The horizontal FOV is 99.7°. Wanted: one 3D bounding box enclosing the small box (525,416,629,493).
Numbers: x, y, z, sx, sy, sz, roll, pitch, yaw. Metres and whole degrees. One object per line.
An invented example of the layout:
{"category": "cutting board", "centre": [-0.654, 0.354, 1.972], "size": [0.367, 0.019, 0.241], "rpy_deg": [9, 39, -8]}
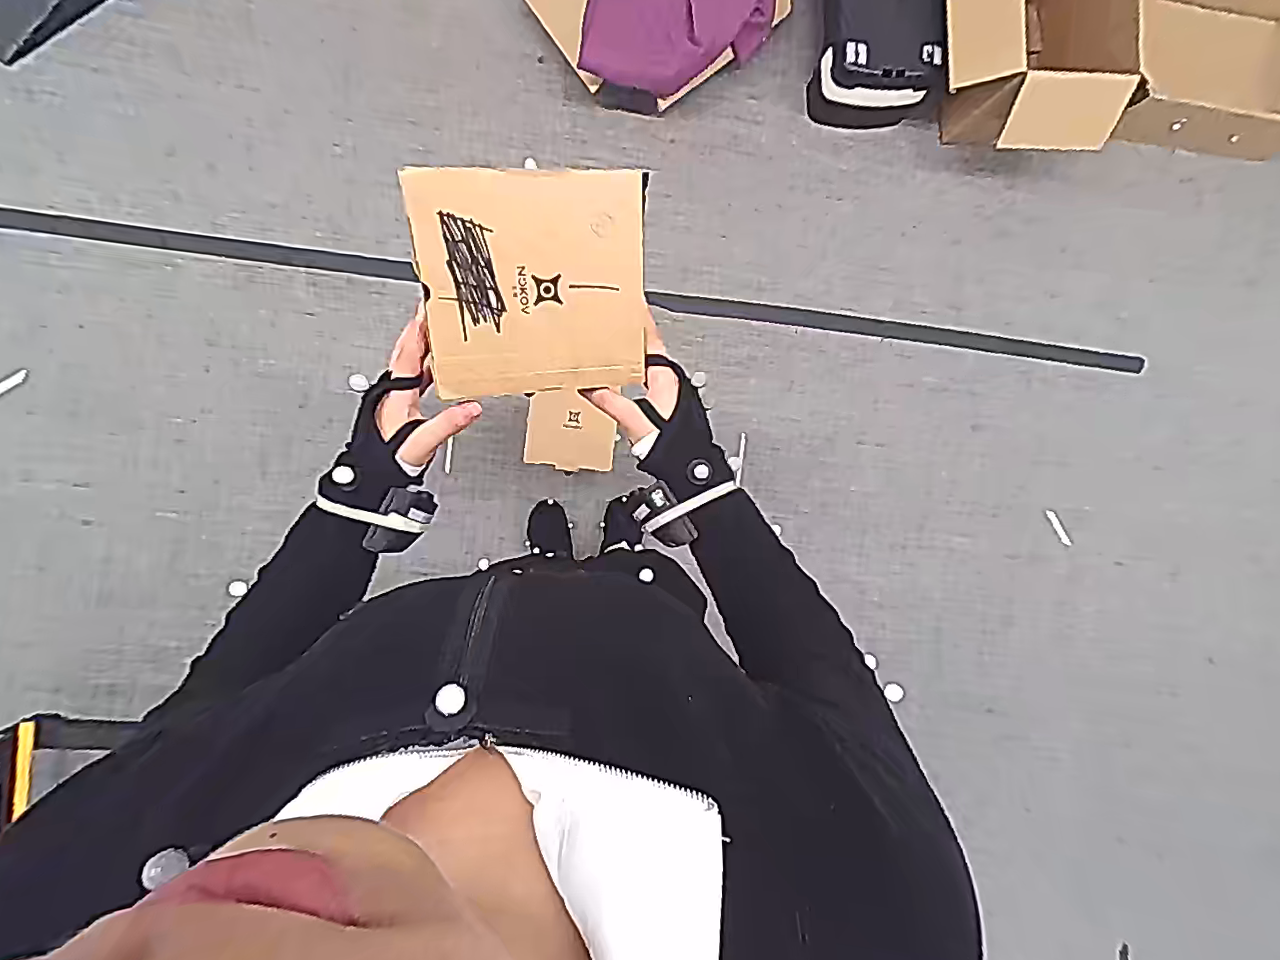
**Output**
{"category": "small box", "centre": [-0.111, -0.076, 0.997], "size": [0.168, 0.176, 0.179], "rpy_deg": [7, 92, -6]}

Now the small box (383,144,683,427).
{"category": "small box", "centre": [-0.076, -0.146, 0.416], "size": [0.179, 0.176, 0.168], "rpy_deg": [-6, 114, -13]}
